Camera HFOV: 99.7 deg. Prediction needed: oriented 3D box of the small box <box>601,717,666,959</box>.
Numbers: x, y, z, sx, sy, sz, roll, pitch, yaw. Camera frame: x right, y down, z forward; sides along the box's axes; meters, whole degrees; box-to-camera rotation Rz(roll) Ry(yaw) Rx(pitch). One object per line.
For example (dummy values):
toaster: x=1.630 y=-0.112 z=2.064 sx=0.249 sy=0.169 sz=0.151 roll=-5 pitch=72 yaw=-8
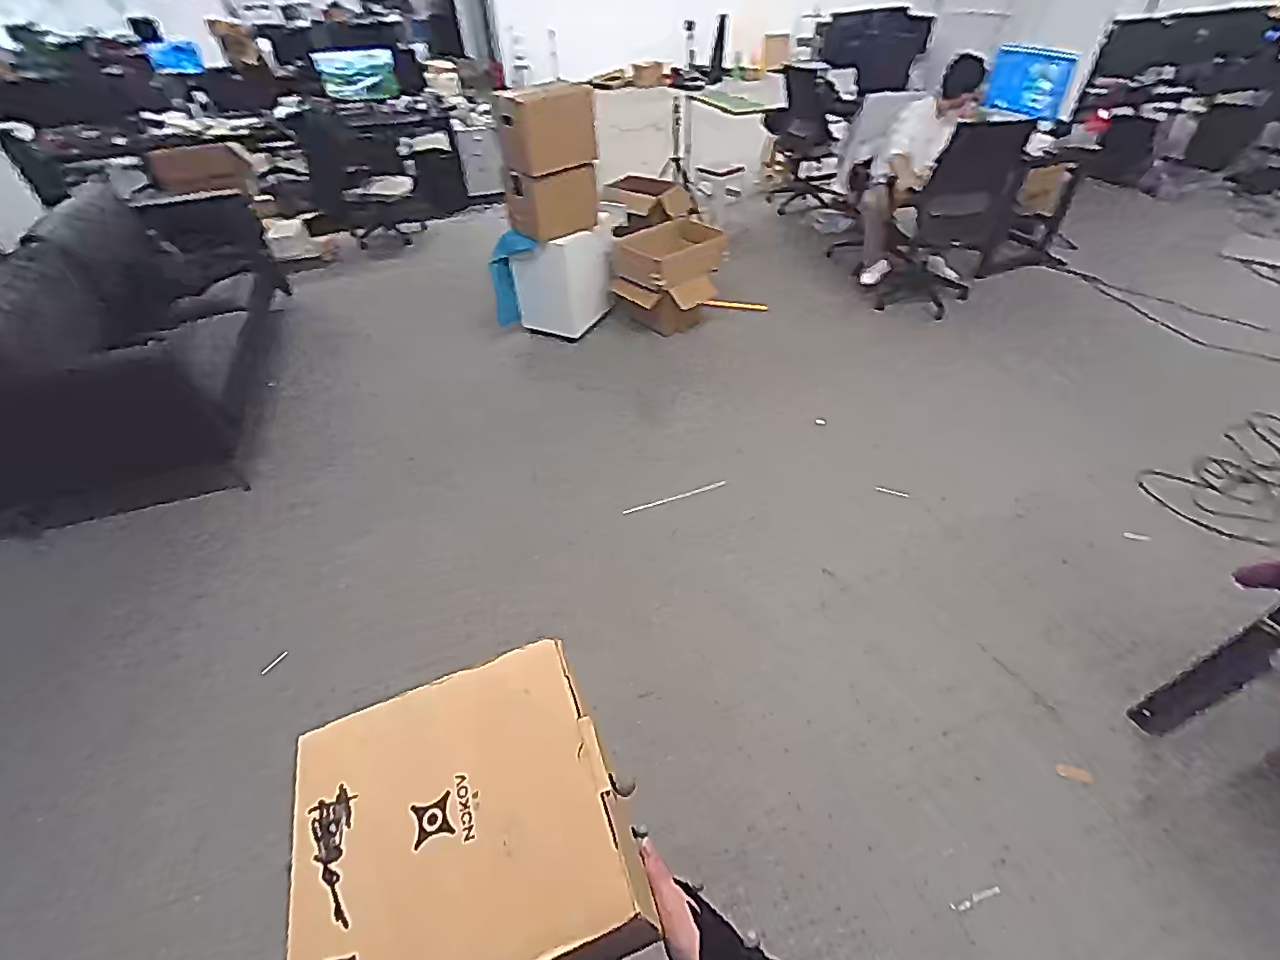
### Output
small box: x=-0.081 y=0.353 z=0.502 sx=0.179 sy=0.176 sz=0.168 roll=-18 pitch=48 yaw=-8

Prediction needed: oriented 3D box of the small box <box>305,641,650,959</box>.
small box: x=-0.097 y=0.246 z=0.377 sx=0.179 sy=0.176 sz=0.168 roll=-18 pitch=48 yaw=-9
